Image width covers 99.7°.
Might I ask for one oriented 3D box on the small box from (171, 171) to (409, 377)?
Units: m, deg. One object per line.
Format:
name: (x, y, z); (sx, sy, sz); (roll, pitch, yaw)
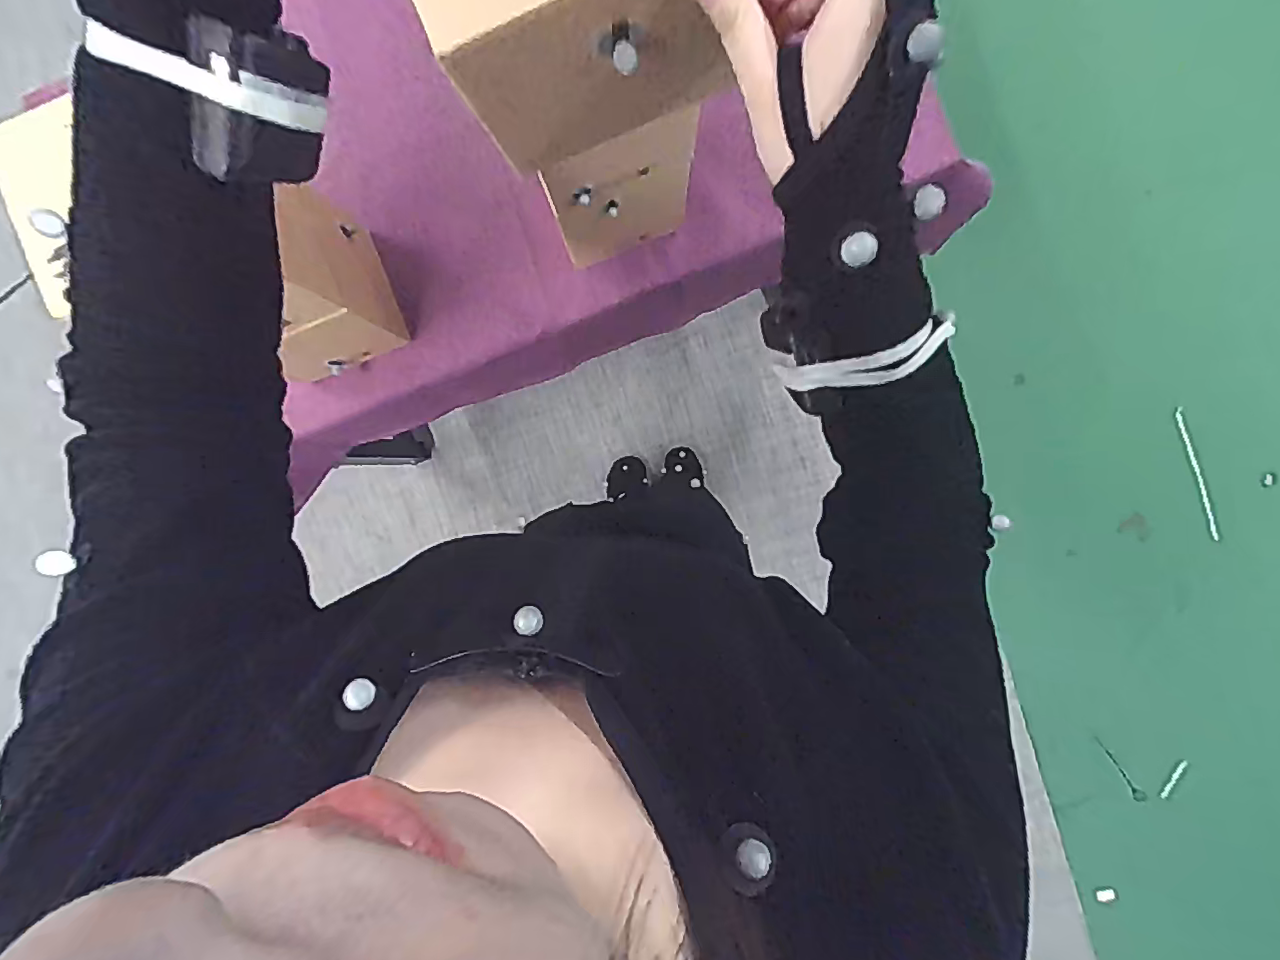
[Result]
small box: (-0.436, -0.251, 0.703); (0.168, 0.176, 0.179); (-21, 92, 2)

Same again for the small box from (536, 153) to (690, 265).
small box: (-0.046, -0.408, 0.687); (0.168, 0.176, 0.179); (-21, 91, 4)

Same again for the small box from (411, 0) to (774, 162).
small box: (-0.030, -0.293, 0.271); (0.179, 0.176, 0.168); (-20, 105, 4)

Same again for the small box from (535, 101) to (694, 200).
small box: (-0.049, -0.403, 0.522); (0.168, 0.176, 0.179); (-22, 91, 2)
